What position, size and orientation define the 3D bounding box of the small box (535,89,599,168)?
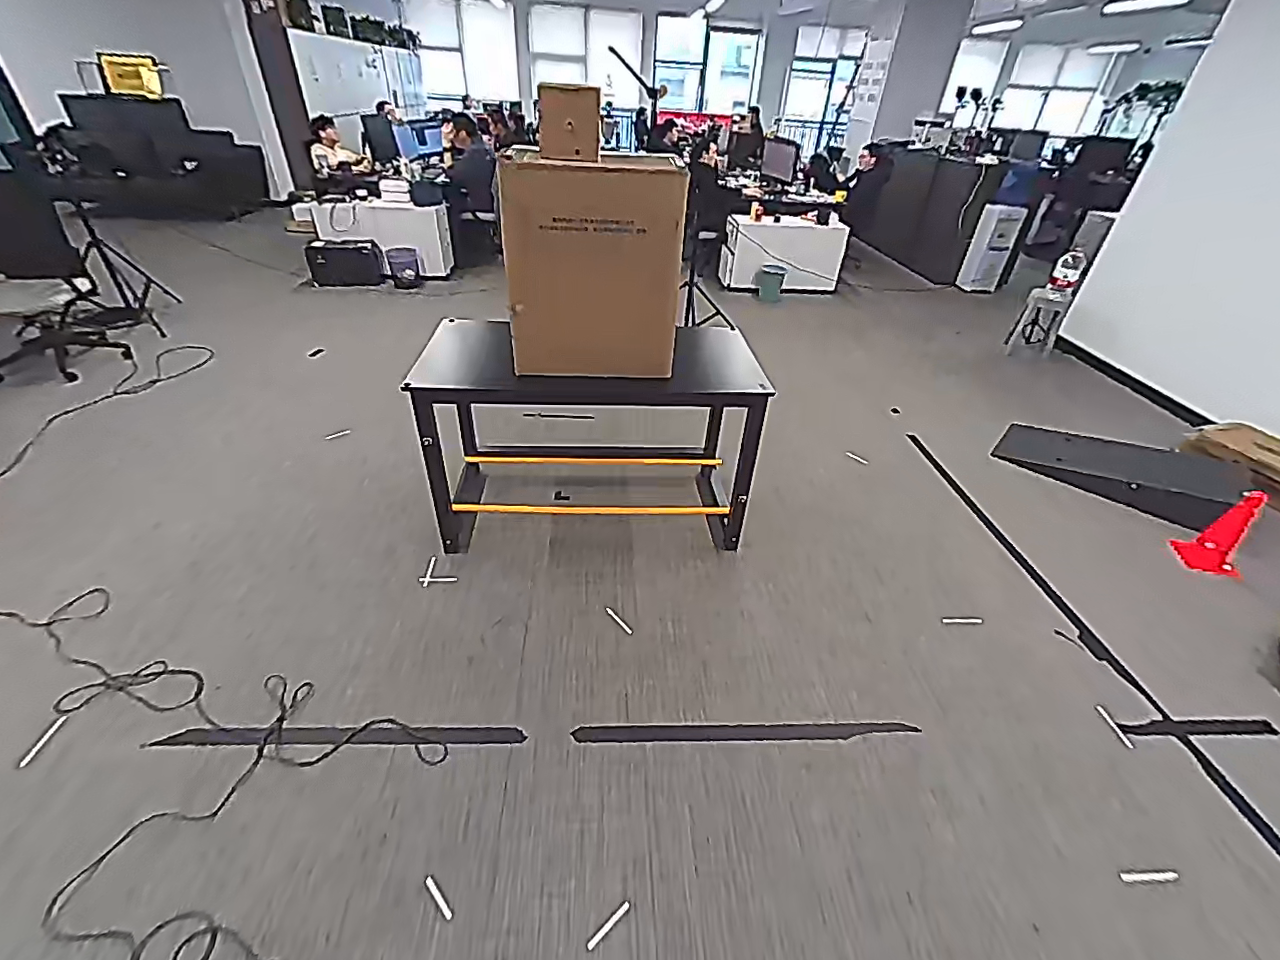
[{"bbox_3d":[-0.201,-0.995,1.530,0.168,0.176,0.179,1,38,-4],"label":"small box"}]
